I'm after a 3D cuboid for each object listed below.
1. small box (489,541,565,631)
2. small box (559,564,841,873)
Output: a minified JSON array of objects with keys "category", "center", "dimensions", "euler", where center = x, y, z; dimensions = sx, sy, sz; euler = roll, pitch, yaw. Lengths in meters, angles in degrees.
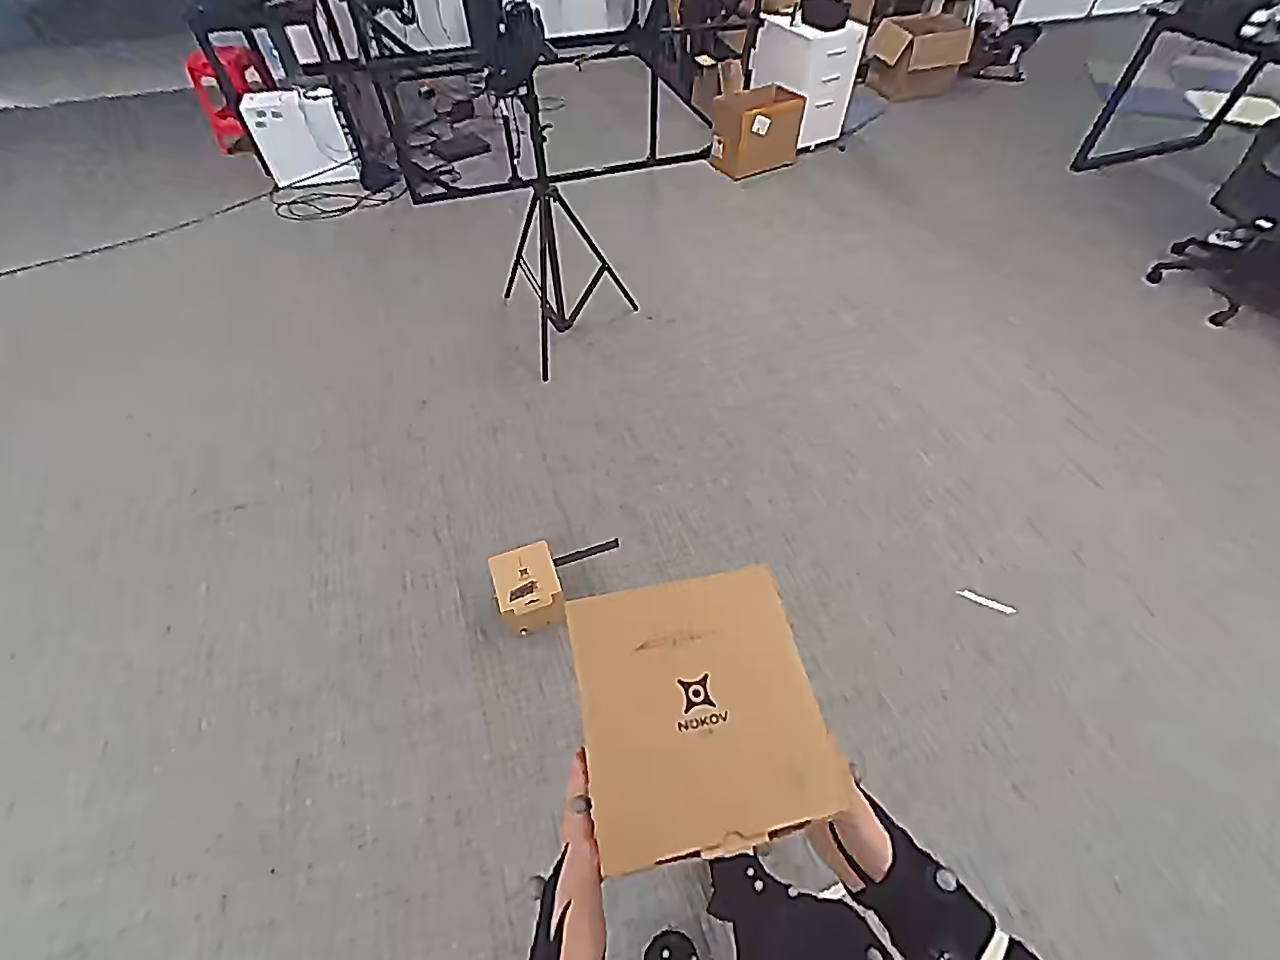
[{"category":"small box","center":[-0.307,0.304,1.516],"dimensions":[0.168,0.176,0.179],"euler":[-17,55,-13]},{"category":"small box","center":[0.030,0.193,0.446],"dimensions":[0.168,0.176,0.179],"euler":[-9,58,-11]}]
